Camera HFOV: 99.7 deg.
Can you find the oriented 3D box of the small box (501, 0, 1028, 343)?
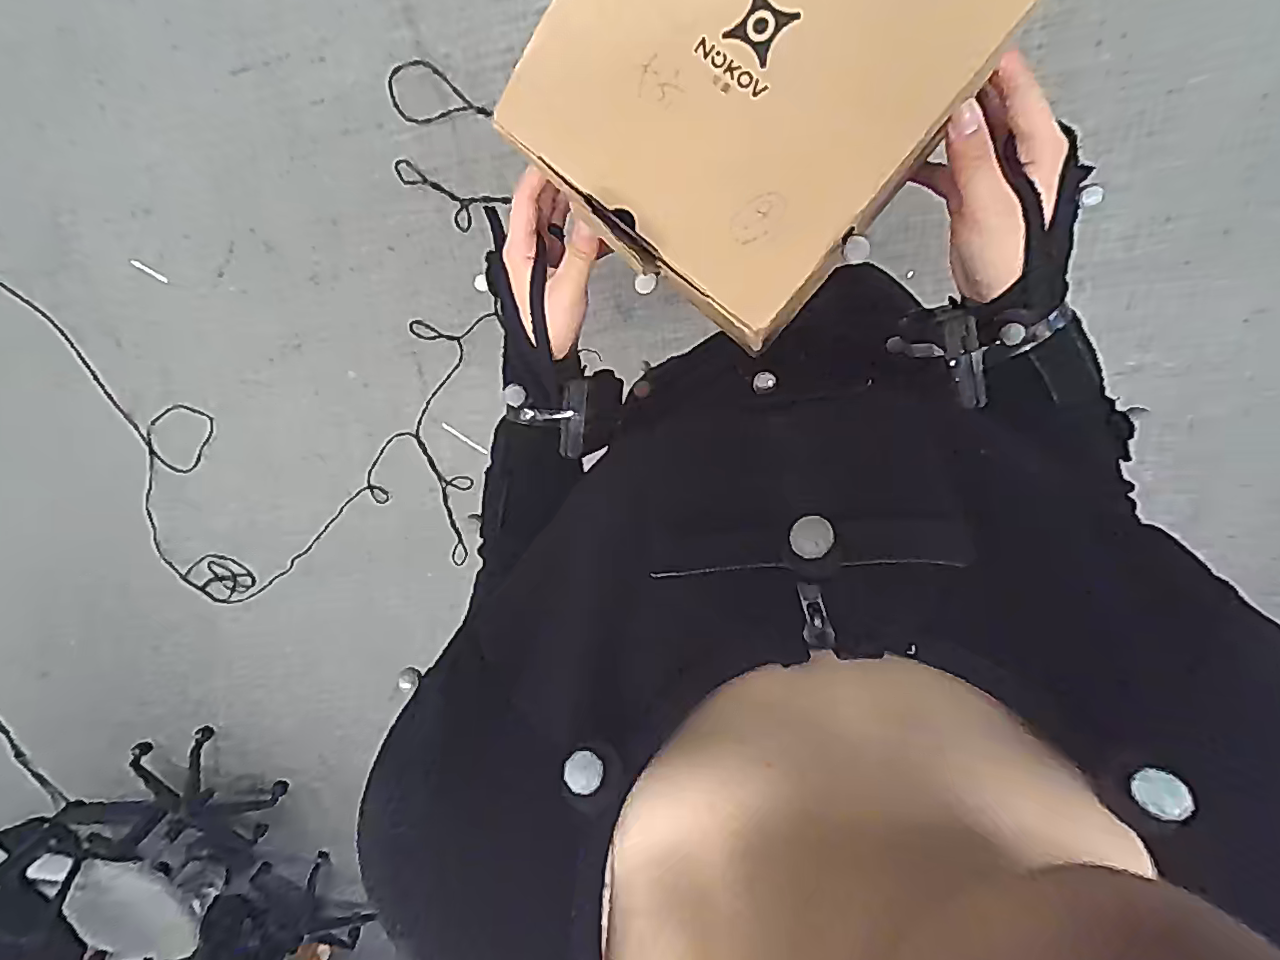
[{"bbox_3d":[0.062,-0.197,0.311,0.168,0.176,0.179,41,106,4],"label":"small box"}]
